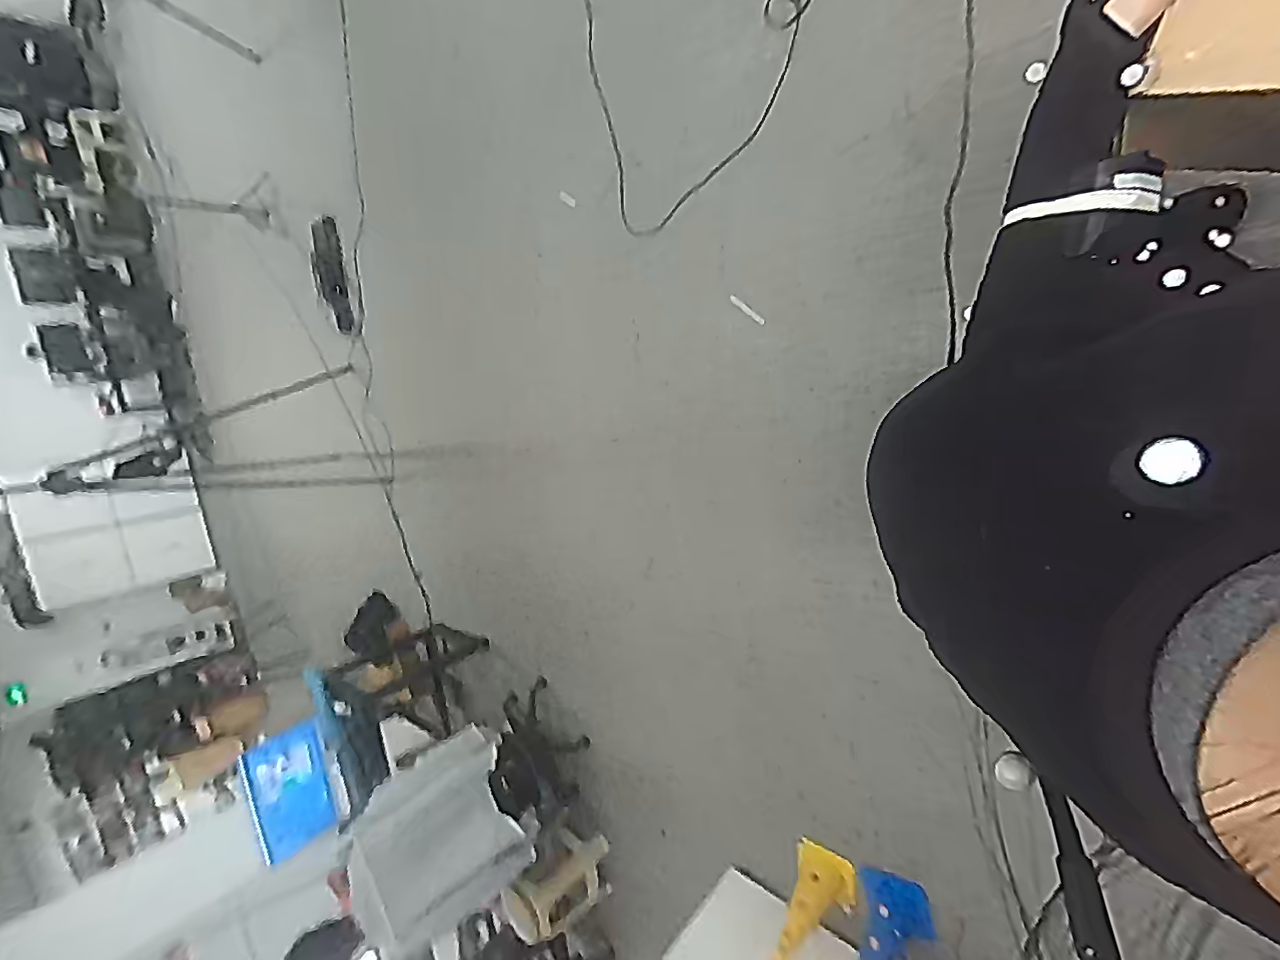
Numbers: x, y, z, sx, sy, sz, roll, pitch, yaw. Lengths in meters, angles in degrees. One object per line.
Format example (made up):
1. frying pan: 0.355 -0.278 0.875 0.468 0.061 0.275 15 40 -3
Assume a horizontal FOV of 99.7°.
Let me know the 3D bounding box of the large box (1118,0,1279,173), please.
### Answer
1. large box: 0.603 -0.379 0.323 0.408 0.320 0.320 22 118 34
